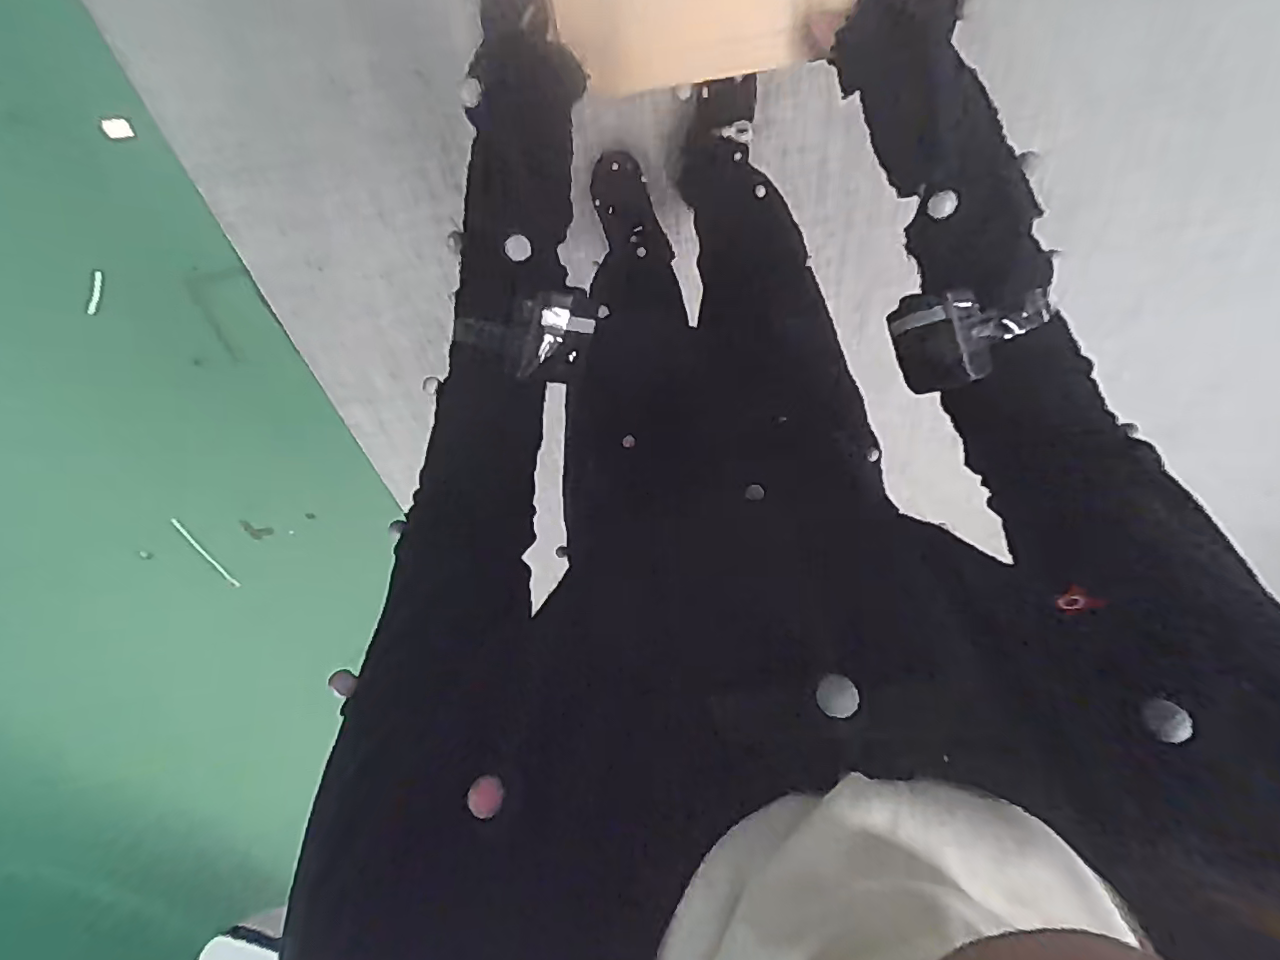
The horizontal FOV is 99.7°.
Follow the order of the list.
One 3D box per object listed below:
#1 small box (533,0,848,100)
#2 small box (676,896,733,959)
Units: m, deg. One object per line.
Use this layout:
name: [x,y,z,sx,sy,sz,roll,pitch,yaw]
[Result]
small box: [0.020,-0.351,0.327,0.179,0.176,0.168,-8,134,2]
small box: [0.217,1.543,1.840,0.179,0.176,0.168,-10,130,6]
